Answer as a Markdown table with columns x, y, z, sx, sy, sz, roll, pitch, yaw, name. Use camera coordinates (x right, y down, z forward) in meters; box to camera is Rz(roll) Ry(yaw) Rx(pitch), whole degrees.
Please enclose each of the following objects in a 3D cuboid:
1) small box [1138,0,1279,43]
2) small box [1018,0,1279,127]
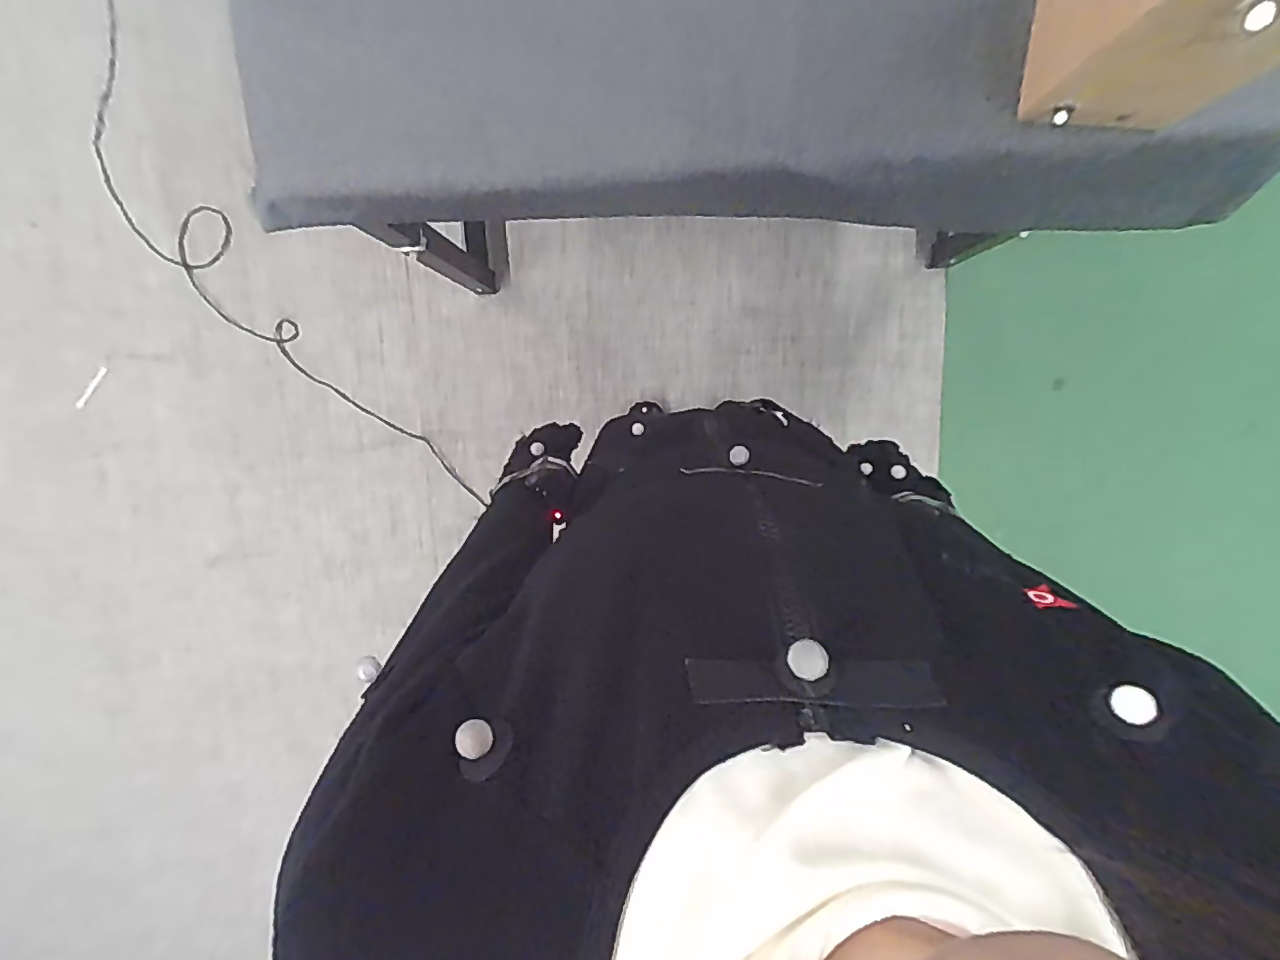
| x | y | z | sx | sy | sz | roll | pitch | yaw | name |
| --- | --- | --- | --- | --- | --- | --- | --- | --- | --- |
| 0.504 | -0.453 | 0.370 | 0.168 | 0.176 | 0.179 | 6 | 100 | 3 | small box |
| 0.513 | -0.480 | 0.529 | 0.168 | 0.176 | 0.179 | 6 | 98 | 1 | small box |
